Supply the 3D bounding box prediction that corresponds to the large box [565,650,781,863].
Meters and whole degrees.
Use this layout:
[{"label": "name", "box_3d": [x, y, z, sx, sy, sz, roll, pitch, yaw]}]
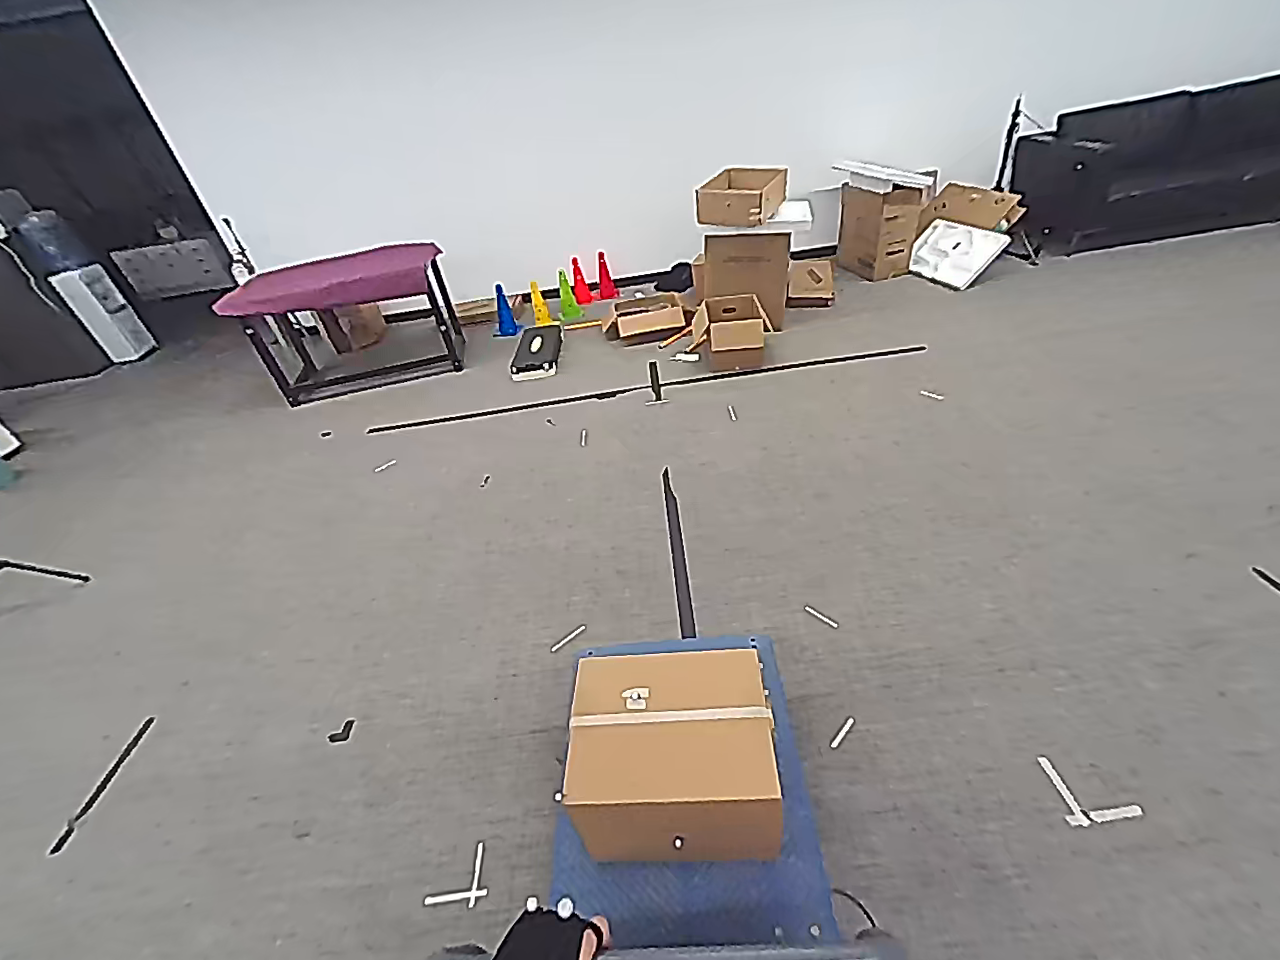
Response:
[{"label": "large box", "box_3d": [0.080, 0.613, 1.198, 0.408, 0.320, 0.320, -6, 36, 6]}]
